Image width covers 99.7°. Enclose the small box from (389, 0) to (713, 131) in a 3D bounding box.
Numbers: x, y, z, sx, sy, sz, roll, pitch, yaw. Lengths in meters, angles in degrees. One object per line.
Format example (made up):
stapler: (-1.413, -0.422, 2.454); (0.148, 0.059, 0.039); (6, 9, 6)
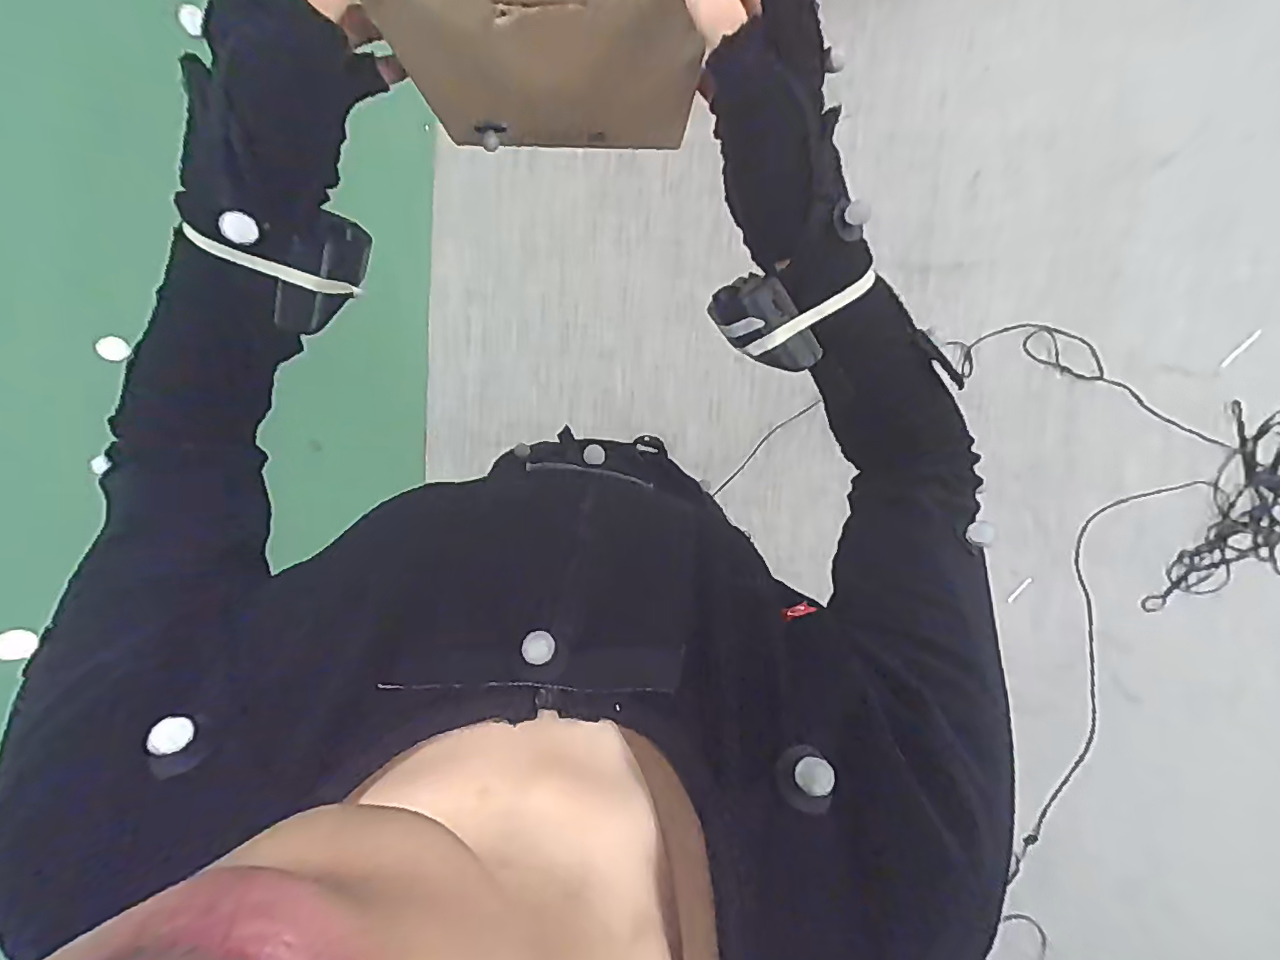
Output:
small box: (-0.043, -0.320, 0.294); (0.168, 0.176, 0.179); (0, 97, -3)
